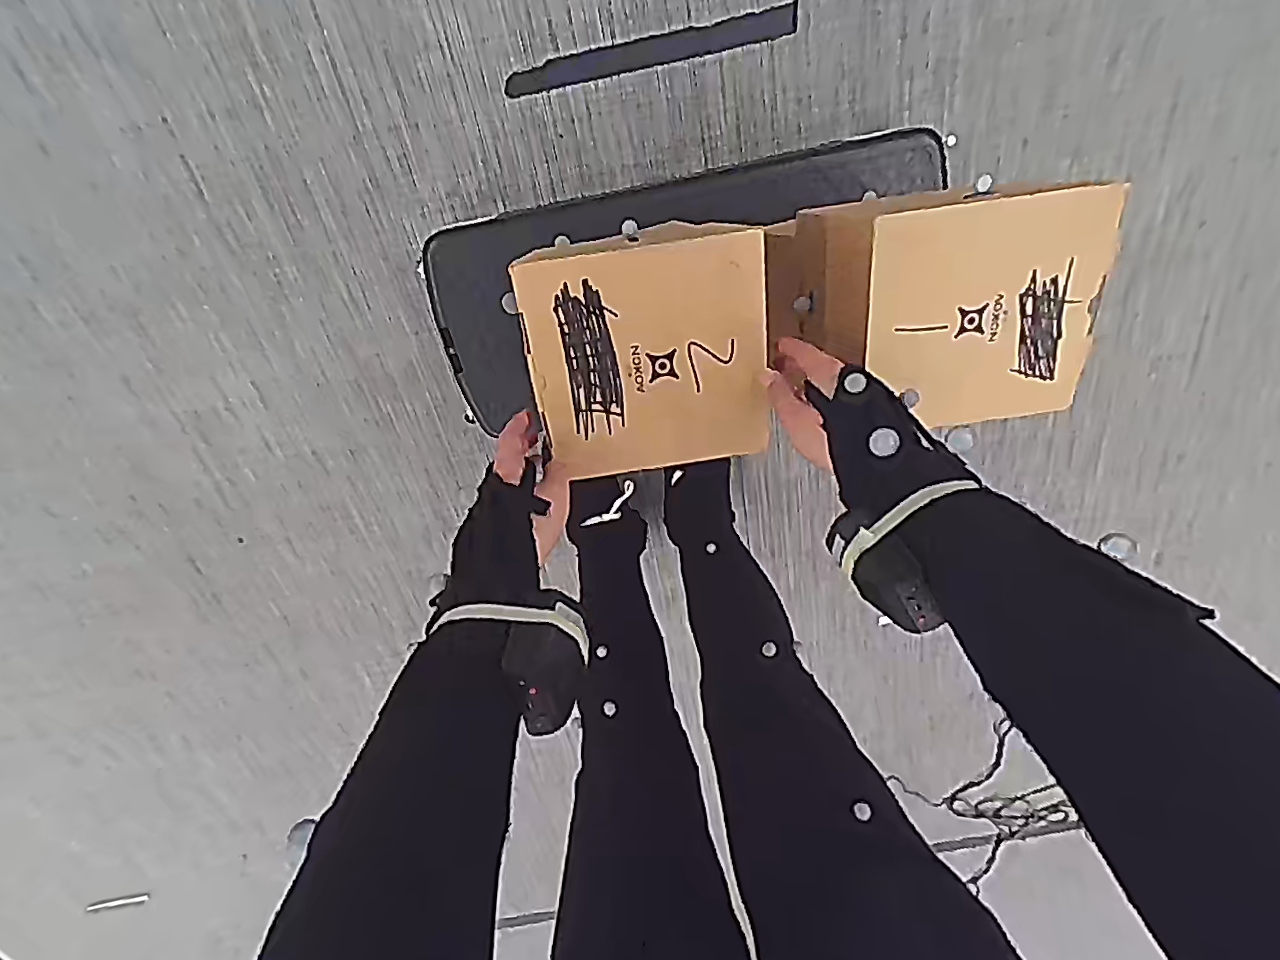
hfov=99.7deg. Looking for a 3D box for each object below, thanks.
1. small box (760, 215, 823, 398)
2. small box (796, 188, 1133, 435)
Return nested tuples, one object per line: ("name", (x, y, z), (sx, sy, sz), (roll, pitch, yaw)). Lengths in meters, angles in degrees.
("small box", (0.246, -0.216, 0.624), (0.168, 0.176, 0.179), (-13, 117, 2))
("small box", (0.251, -0.155, 0.471), (0.179, 0.176, 0.168), (-7, 117, 0))
